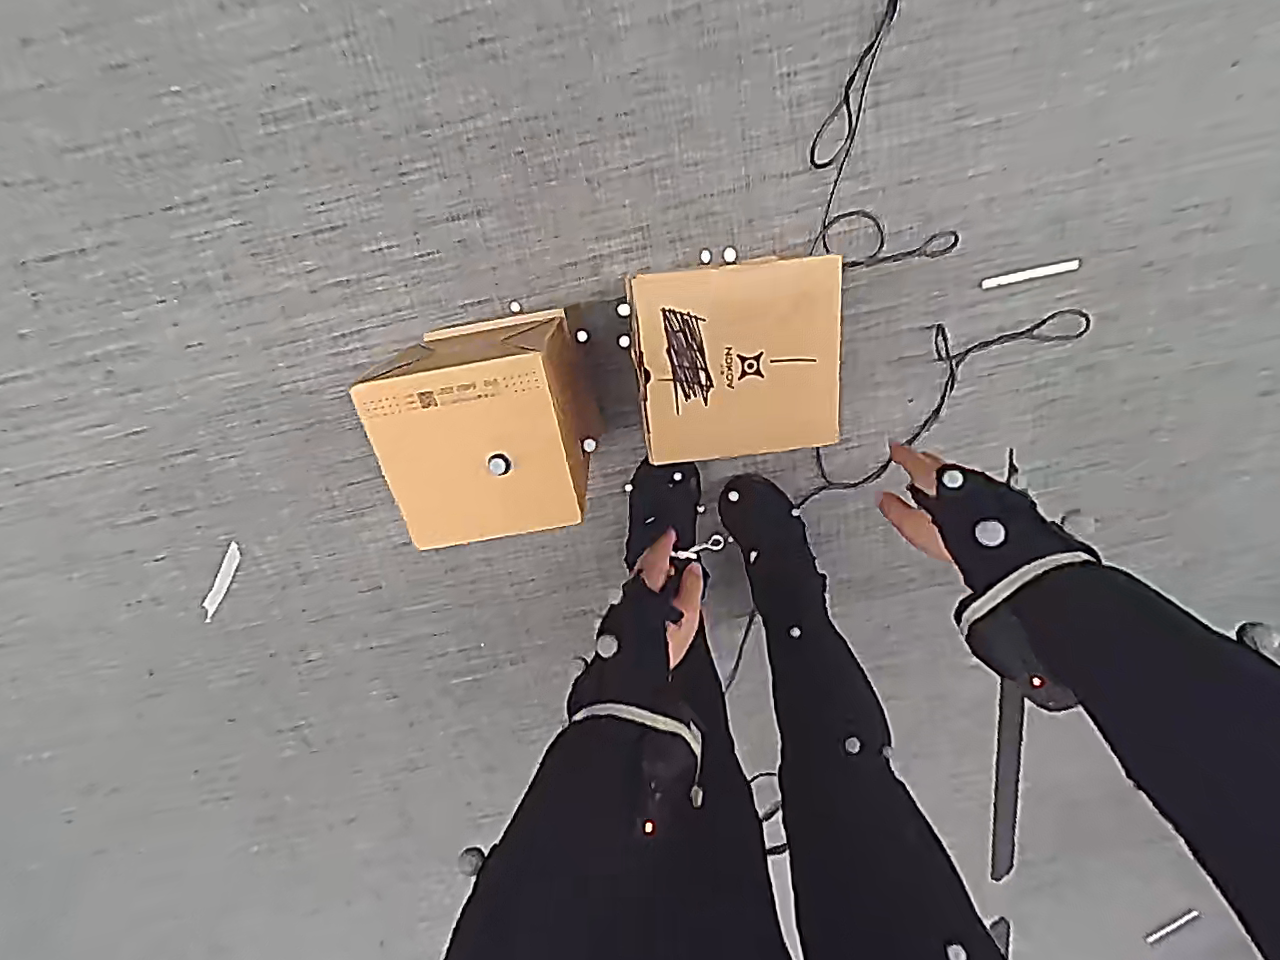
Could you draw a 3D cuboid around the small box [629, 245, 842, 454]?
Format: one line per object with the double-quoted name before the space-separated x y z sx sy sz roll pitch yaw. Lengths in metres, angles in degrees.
"small box" 0.082 -0.133 0.540 0.179 0.176 0.168 -6 110 -1
